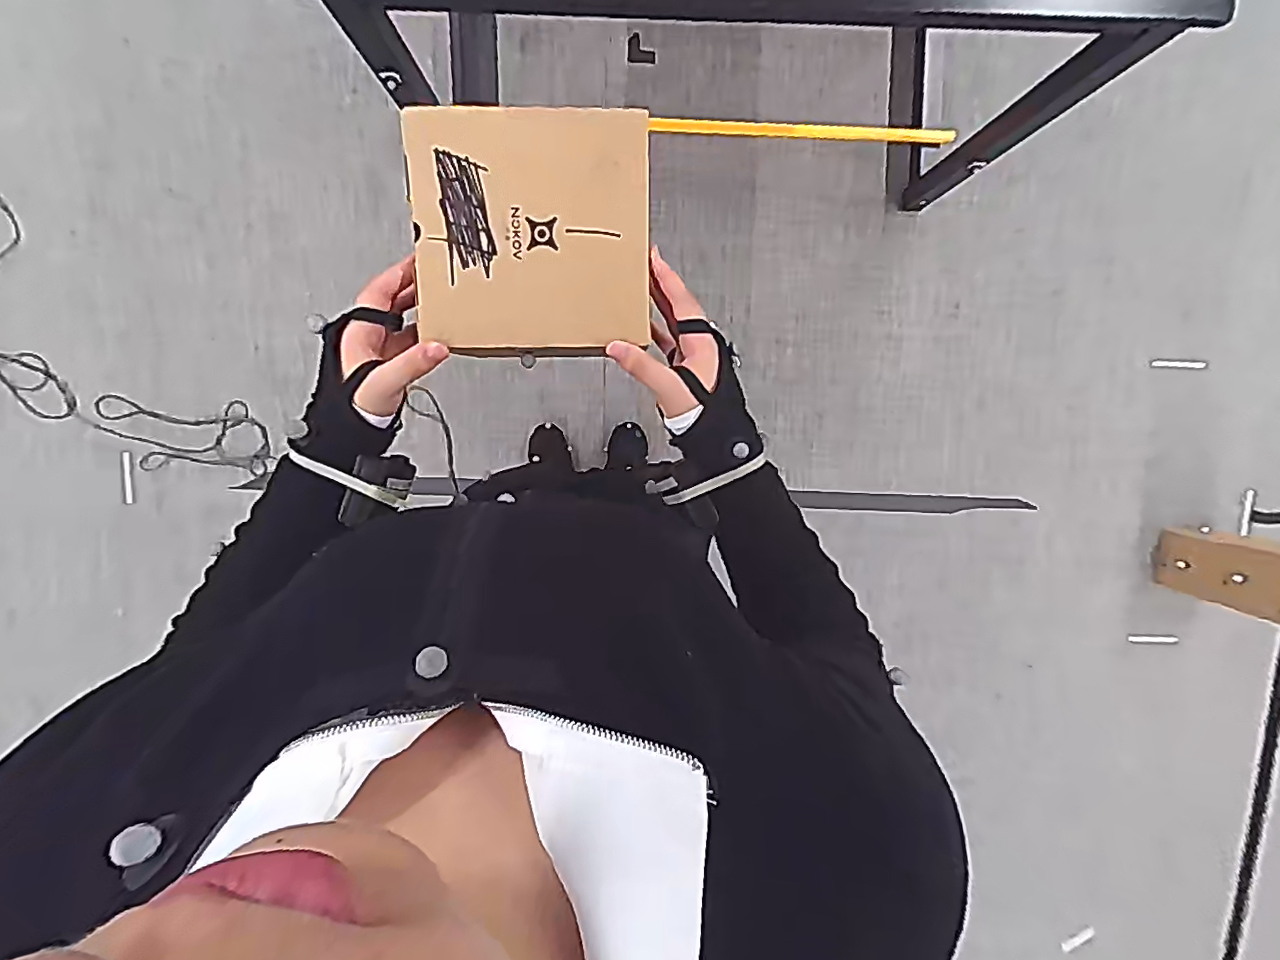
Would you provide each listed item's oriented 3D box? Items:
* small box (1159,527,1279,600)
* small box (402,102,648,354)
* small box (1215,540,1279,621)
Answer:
[{"bbox_3d":[1.594,0.228,1.488,0.179,0.176,0.168,1,97,-1],"label":"small box"},{"bbox_3d":[-0.083,-0.199,0.474,0.179,0.176,0.168,-1,101,-2],"label":"small box"},{"bbox_3d":[1.592,0.246,1.323,0.179,0.176,0.168,3,97,-1],"label":"small box"}]
